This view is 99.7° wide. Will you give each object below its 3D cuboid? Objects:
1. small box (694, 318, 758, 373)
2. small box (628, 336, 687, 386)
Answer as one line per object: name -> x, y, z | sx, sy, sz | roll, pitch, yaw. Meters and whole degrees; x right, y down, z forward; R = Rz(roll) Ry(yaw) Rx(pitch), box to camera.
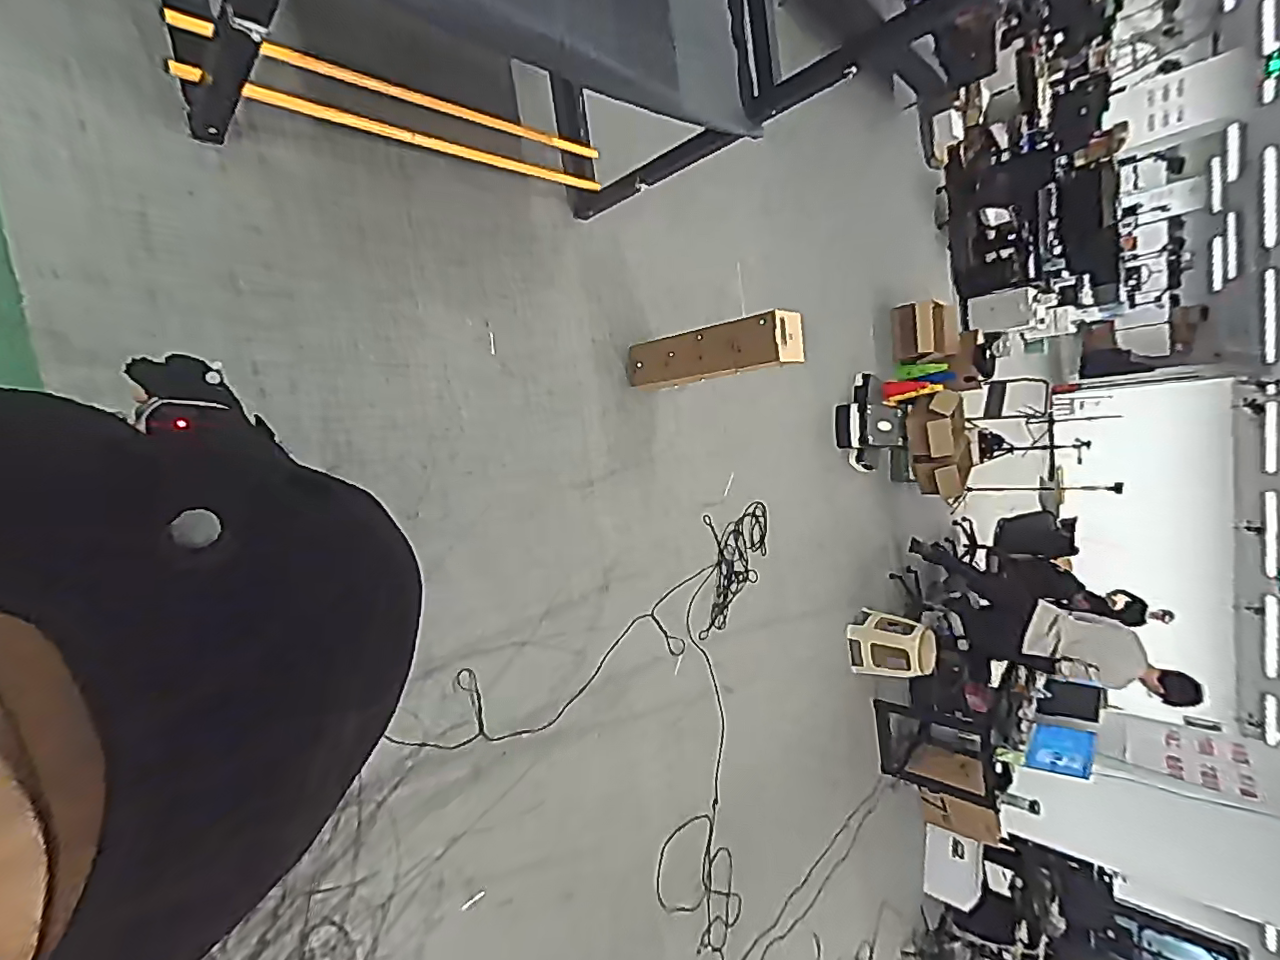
small box -> 0.308, -0.482, 1.963 | 0.179, 0.176, 0.168 | -10, 97, -47
small box -> 0.071, -0.477, 2.187 | 0.179, 0.176, 0.168 | -7, 94, -46
